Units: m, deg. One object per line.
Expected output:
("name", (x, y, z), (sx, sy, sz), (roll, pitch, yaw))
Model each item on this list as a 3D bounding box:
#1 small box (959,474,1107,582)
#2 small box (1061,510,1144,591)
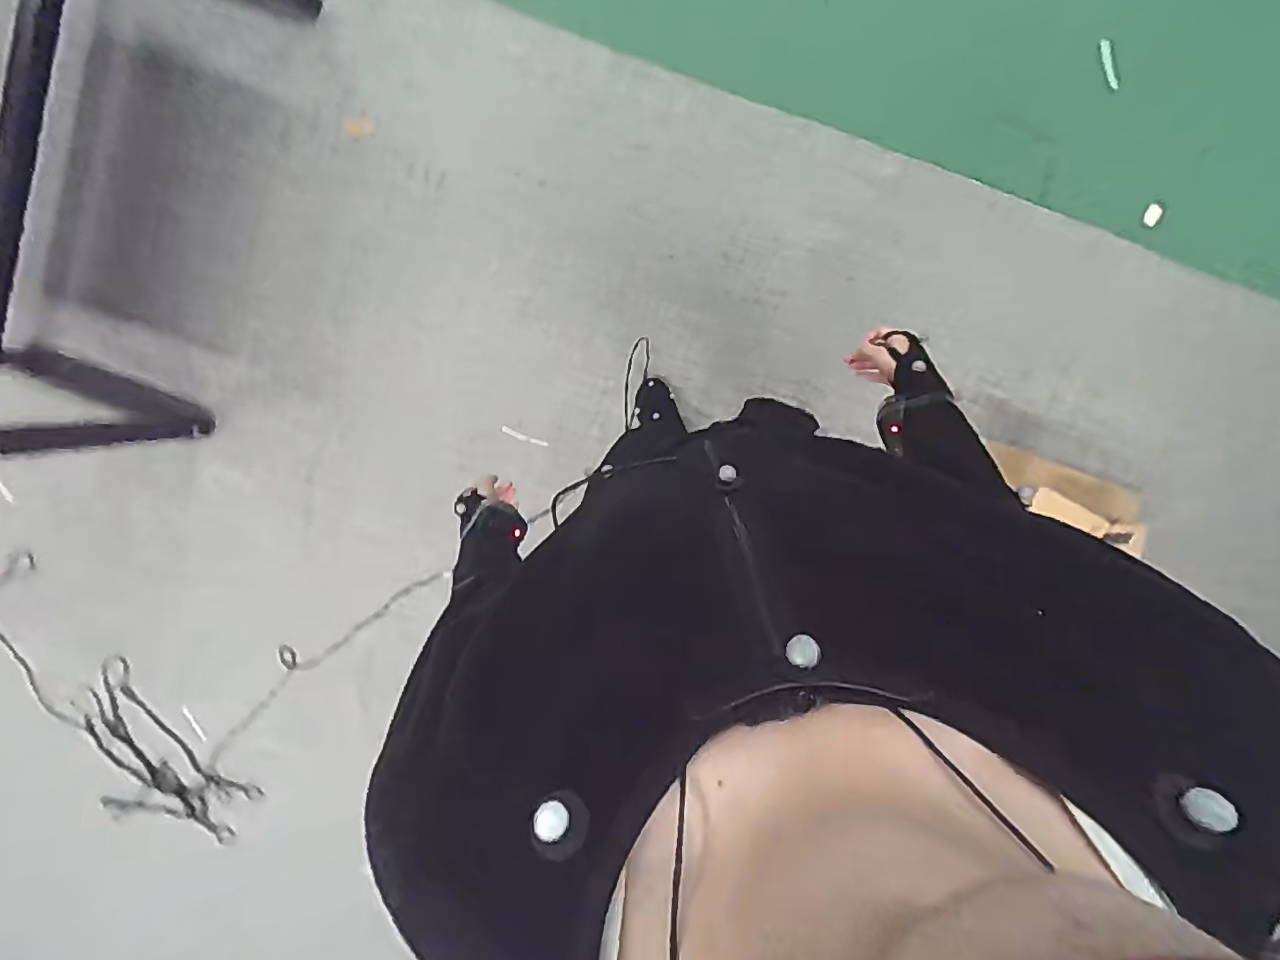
("small box", (0.876, 0.099, 1.227), (0.179, 0.176, 0.168), (29, 101, -3))
("small box", (1.128, 0.166, 1.397), (0.168, 0.176, 0.179), (6, 101, 1))
